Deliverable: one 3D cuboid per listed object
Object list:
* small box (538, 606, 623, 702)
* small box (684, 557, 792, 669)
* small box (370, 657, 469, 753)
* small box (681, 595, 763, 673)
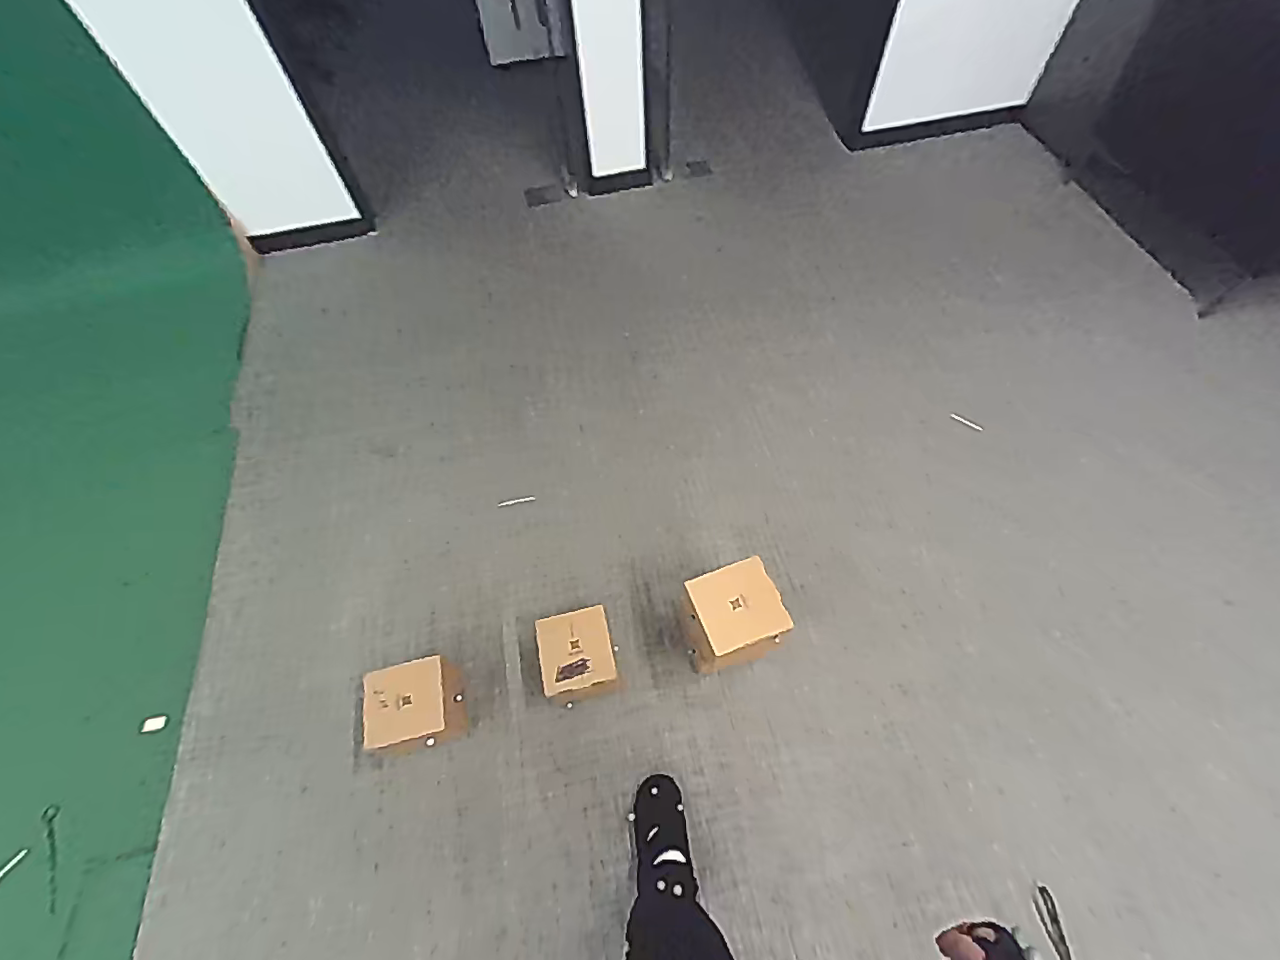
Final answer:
[{"bbox_3d":[-0.140,0.430,1.317,0.168,0.176,0.179,-13,60,-4],"label":"small box"},{"bbox_3d":[0.206,0.297,1.188,0.179,0.176,0.168,-19,62,-8],"label":"small box"},{"bbox_3d":[-0.513,0.535,1.279,0.179,0.176,0.168,-13,60,-5],"label":"small box"},{"bbox_3d":[0.207,0.365,1.336,0.179,0.176,0.168,-15,62,-6],"label":"small box"}]
